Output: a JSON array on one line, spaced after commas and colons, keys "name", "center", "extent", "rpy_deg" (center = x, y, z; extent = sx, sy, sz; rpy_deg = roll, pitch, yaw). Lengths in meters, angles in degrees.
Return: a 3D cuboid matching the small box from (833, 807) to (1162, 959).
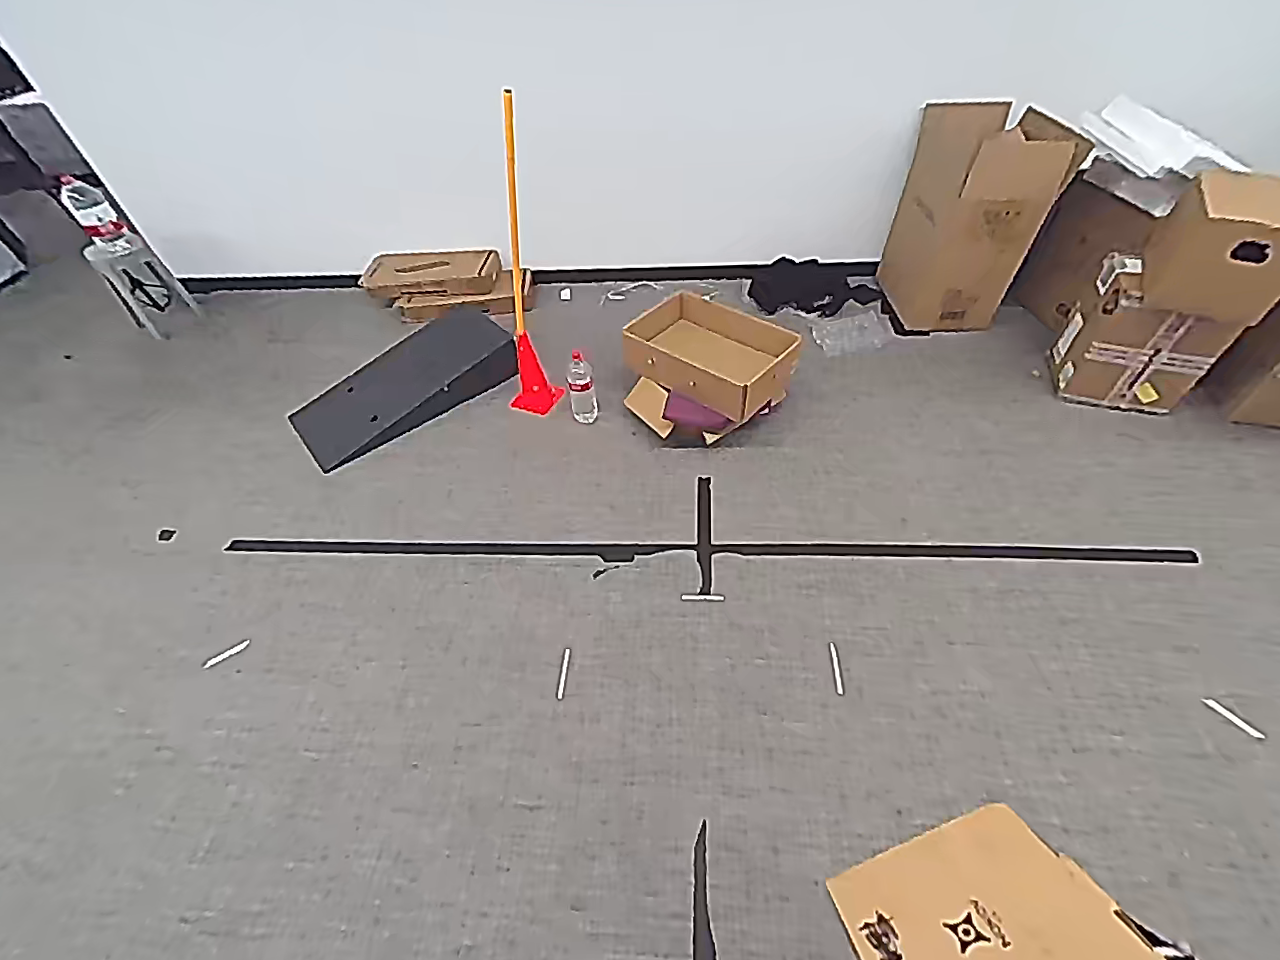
[{"name": "small box", "center": [0.284, 0.408, 0.415], "extent": [0.179, 0.176, 0.168], "rpy_deg": [-23, 8, -1]}]
